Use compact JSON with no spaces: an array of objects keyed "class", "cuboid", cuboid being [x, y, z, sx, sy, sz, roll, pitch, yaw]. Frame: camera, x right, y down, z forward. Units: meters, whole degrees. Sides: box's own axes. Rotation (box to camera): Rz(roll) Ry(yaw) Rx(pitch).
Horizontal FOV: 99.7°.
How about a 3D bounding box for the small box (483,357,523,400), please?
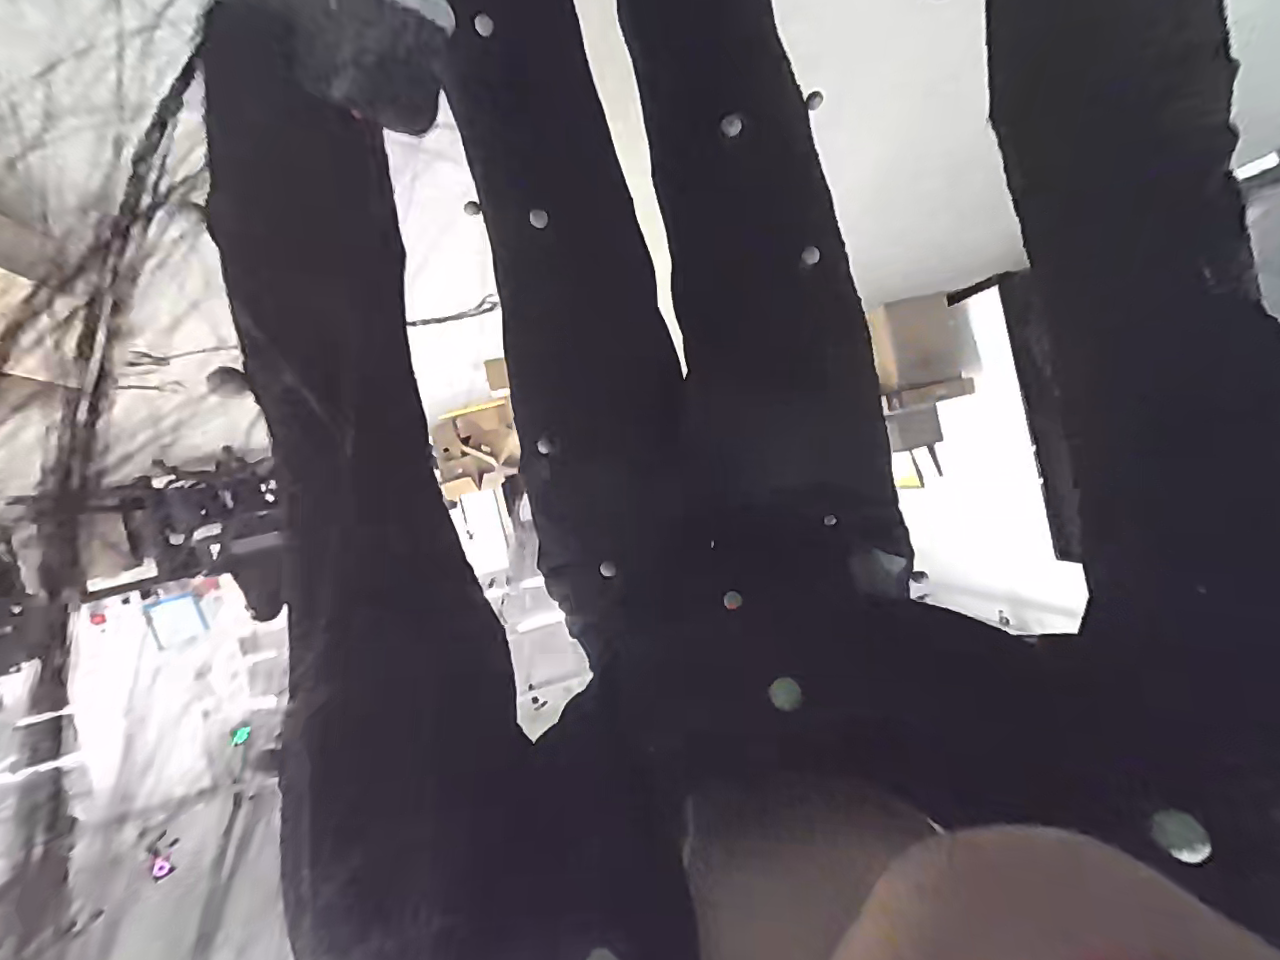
[{"class":"small box","cuboid":[-0.718,-0.532,2.826,0.179,0.176,0.168,-14,-179,-11]}]
